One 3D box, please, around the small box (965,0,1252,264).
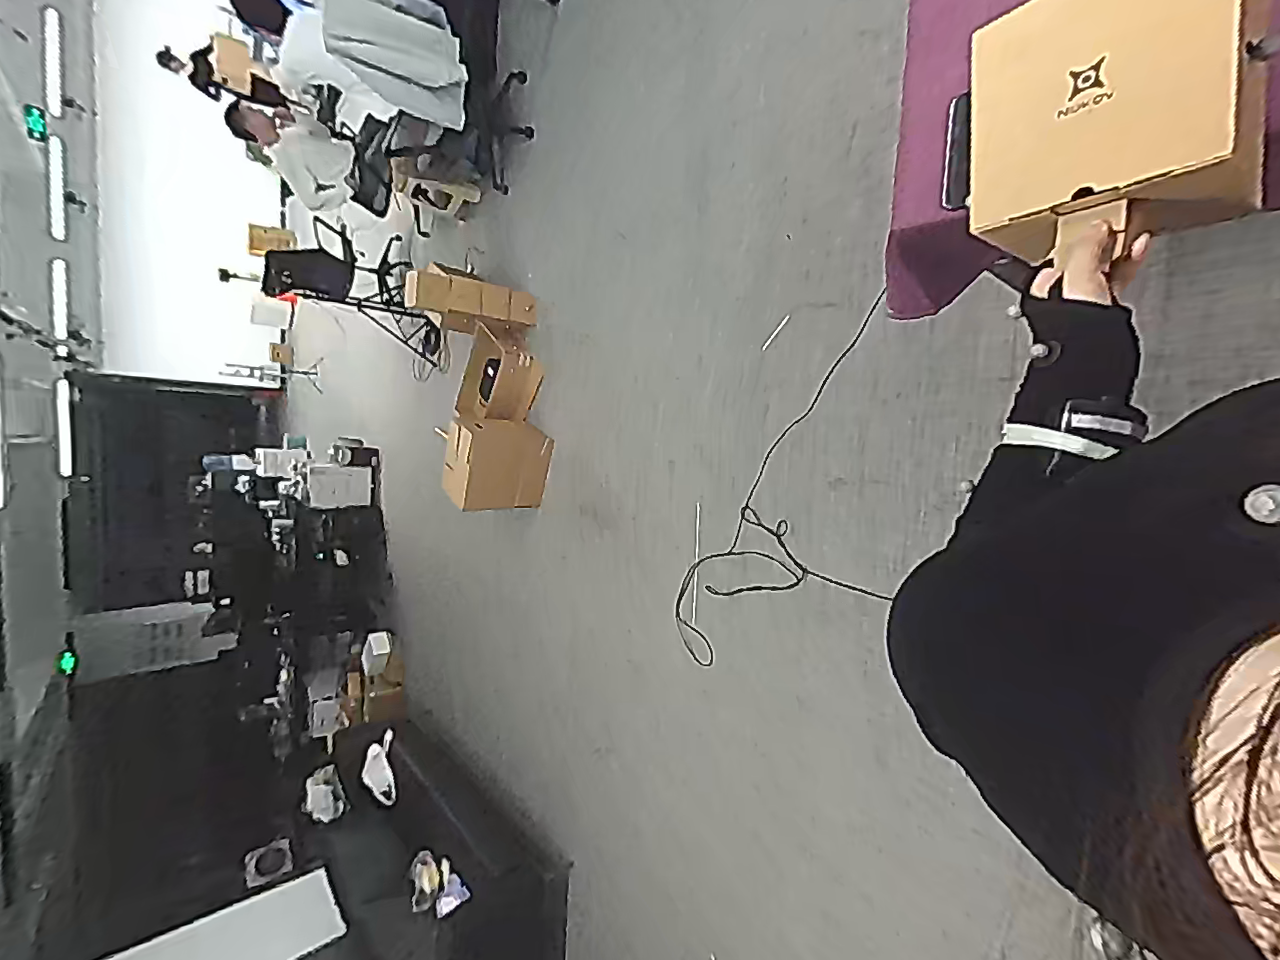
[{"bbox_3d":[0.410,-0.312,0.478,0.168,0.176,0.179,3,97,51],"label":"small box"}]
